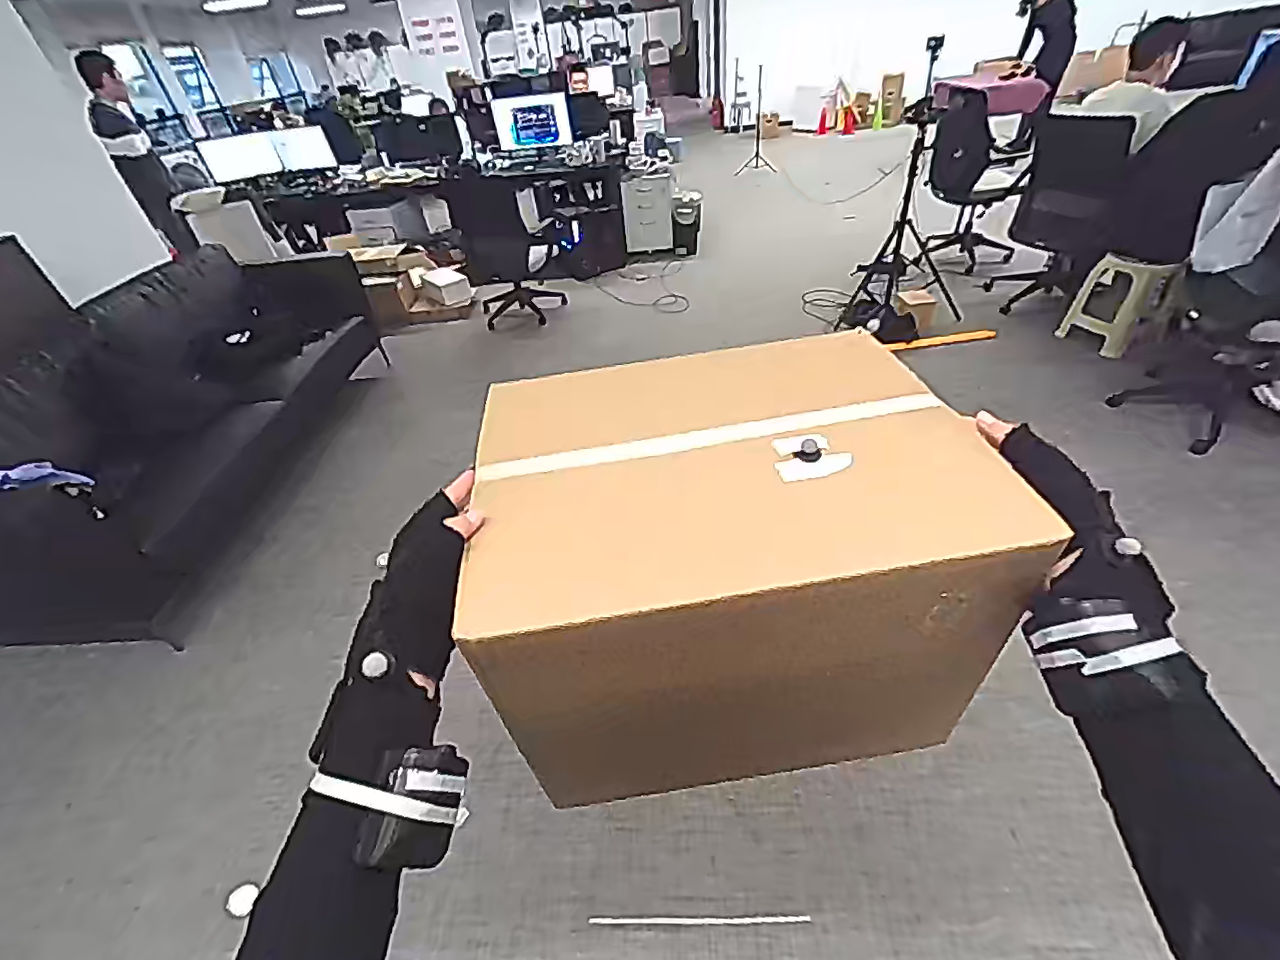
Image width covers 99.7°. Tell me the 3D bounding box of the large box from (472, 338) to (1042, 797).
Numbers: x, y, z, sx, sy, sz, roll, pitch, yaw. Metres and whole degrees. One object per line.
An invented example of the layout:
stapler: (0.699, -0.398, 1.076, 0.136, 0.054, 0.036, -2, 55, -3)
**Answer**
large box: (0.076, 0.083, 0.569, 0.408, 0.320, 0.320, -8, 41, -2)
